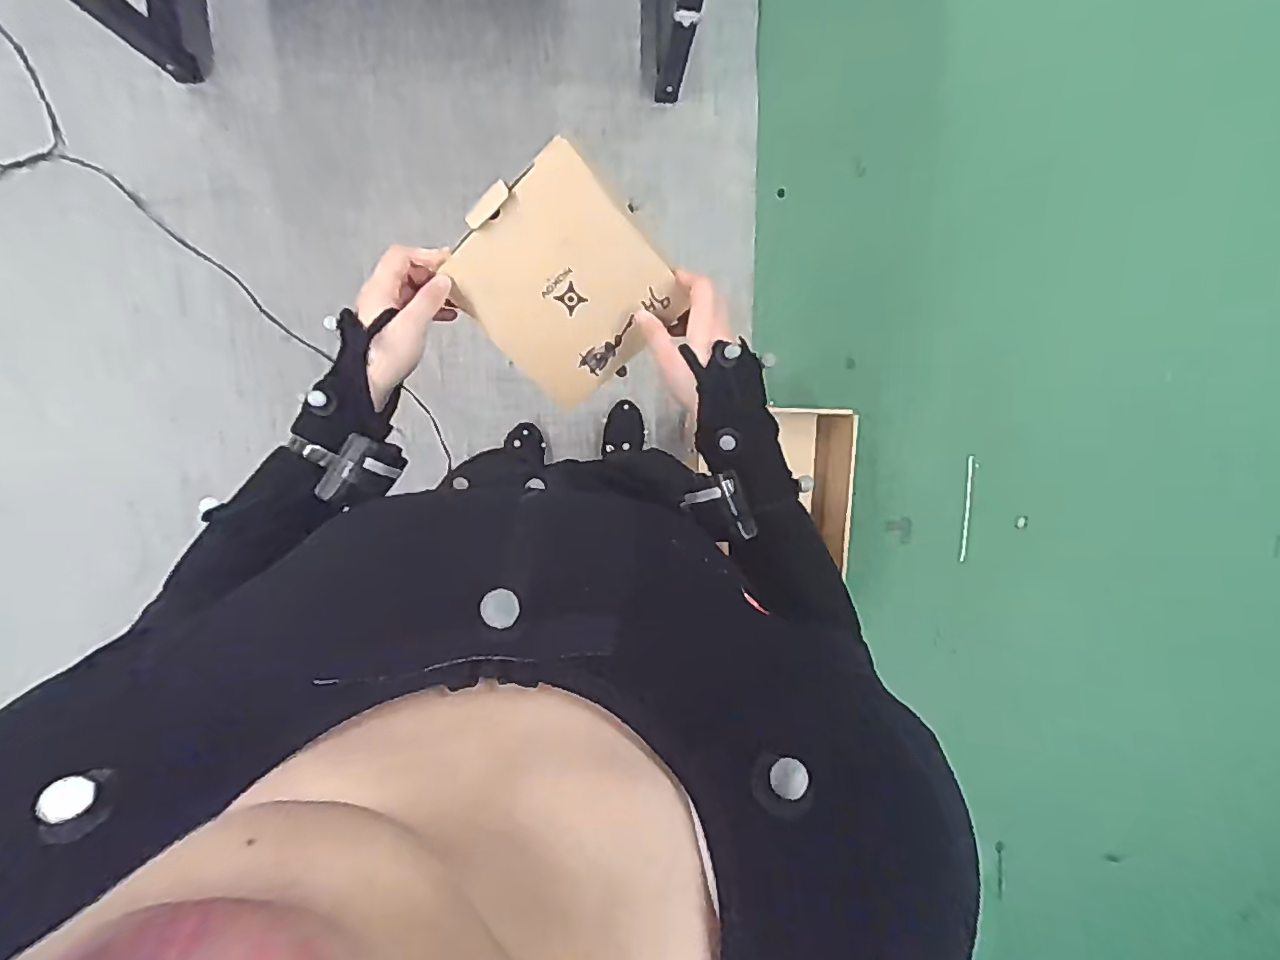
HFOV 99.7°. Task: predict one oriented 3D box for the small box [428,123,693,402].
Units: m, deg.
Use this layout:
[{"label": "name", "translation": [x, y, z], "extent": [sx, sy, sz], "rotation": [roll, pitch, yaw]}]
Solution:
[{"label": "small box", "translation": [-0.072, -0.216, 0.543], "extent": [0.168, 0.176, 0.179], "rotation": [-37, 118, 18]}]
